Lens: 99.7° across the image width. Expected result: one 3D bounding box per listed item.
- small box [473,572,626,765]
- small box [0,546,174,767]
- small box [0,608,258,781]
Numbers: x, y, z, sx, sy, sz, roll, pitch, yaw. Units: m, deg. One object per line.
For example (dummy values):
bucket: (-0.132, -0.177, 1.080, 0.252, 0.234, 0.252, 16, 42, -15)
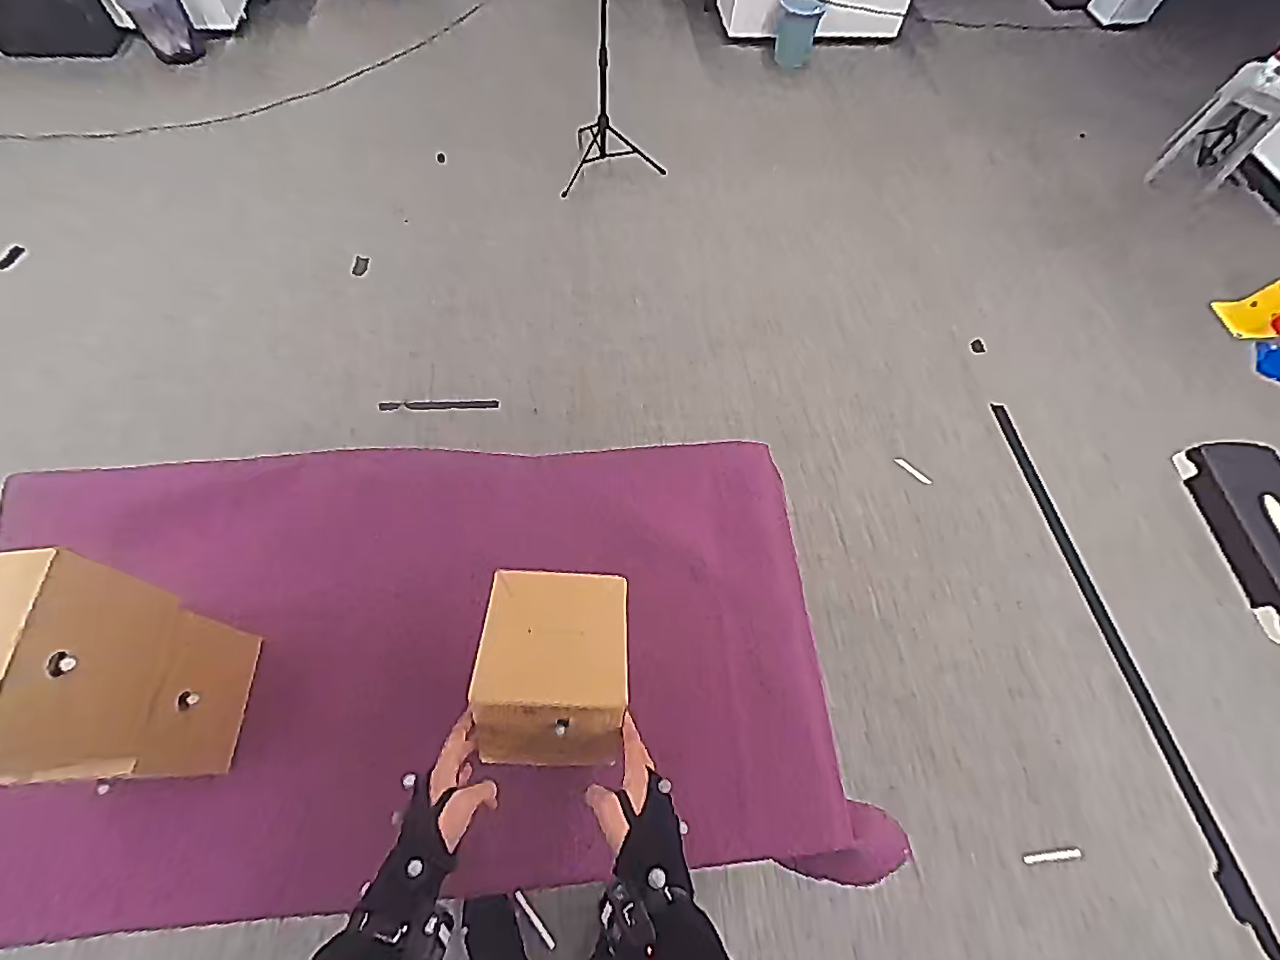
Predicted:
small box: (-0.109, 0.230, 0.680, 0.168, 0.176, 0.179, 5, 37, -6)
small box: (-0.612, 0.180, 0.527, 0.168, 0.176, 0.179, -4, 62, -6)
small box: (-0.617, 0.266, 0.667, 0.168, 0.176, 0.179, 0, 62, -5)
